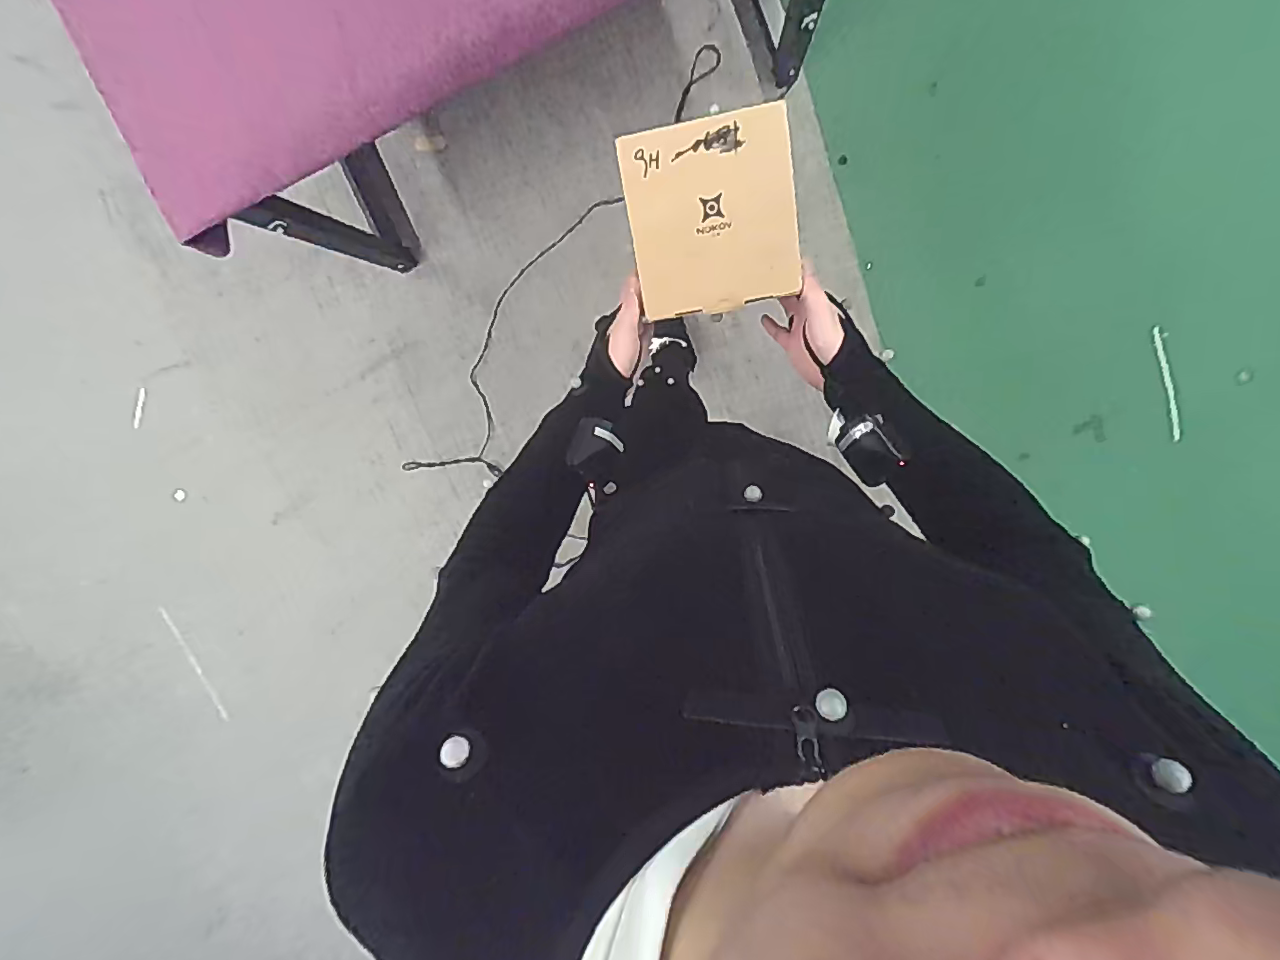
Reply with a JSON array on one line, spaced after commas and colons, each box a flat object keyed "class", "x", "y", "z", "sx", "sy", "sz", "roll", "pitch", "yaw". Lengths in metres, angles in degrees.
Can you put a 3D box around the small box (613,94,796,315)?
[{"class": "small box", "x": 0.072, "y": -0.294, "z": 0.611, "sx": 0.168, "sy": 0.176, "sz": 0.179, "roll": -9, "pitch": 109, "yaw": 6}]
